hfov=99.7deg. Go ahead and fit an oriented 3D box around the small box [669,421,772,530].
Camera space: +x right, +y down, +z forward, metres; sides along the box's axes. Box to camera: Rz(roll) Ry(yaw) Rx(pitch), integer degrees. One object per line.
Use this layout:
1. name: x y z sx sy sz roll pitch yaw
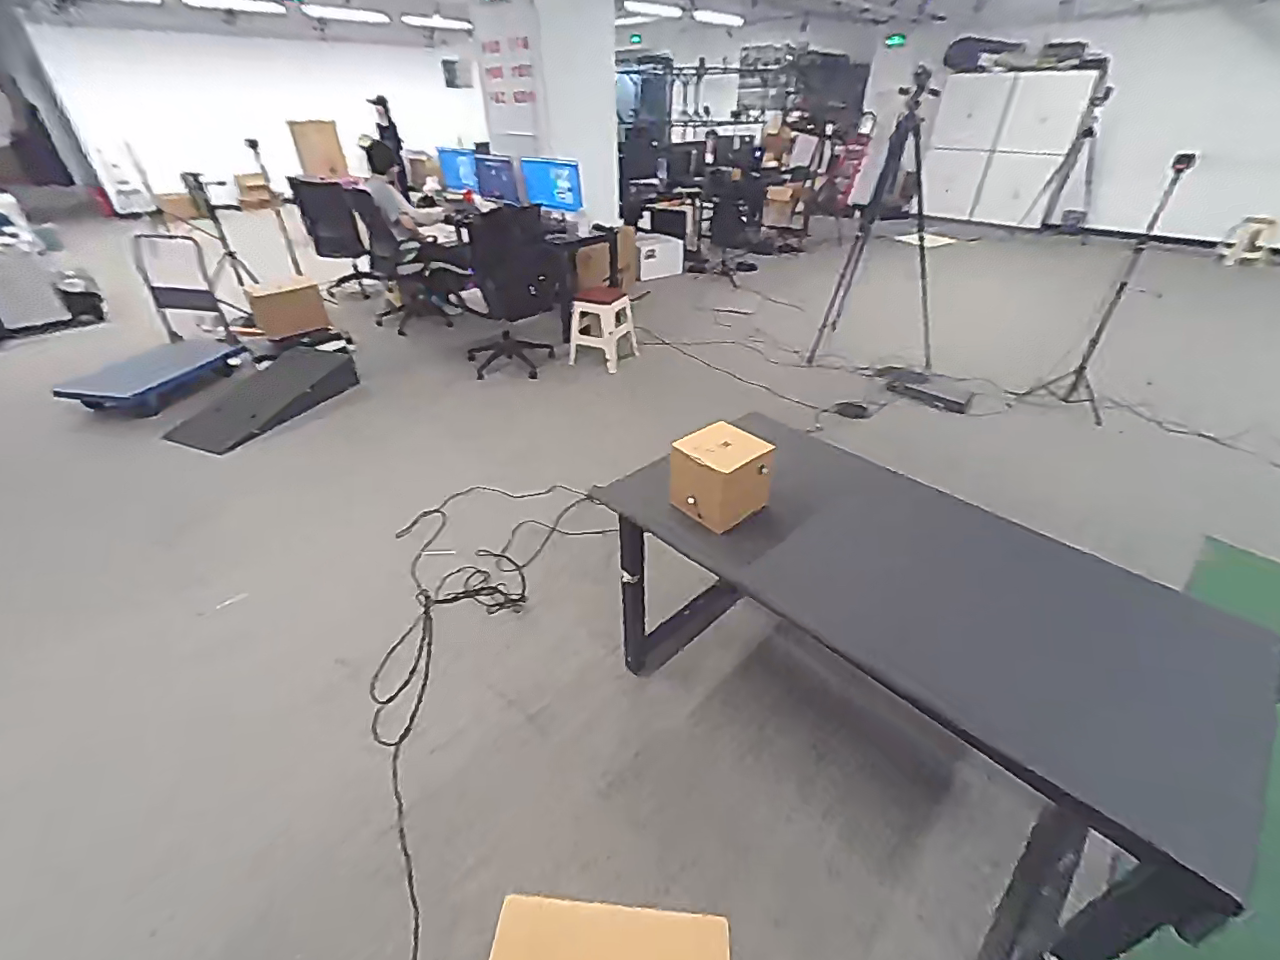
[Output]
1. small box: 0.181 -0.012 1.269 0.179 0.176 0.168 -26 43 -34
